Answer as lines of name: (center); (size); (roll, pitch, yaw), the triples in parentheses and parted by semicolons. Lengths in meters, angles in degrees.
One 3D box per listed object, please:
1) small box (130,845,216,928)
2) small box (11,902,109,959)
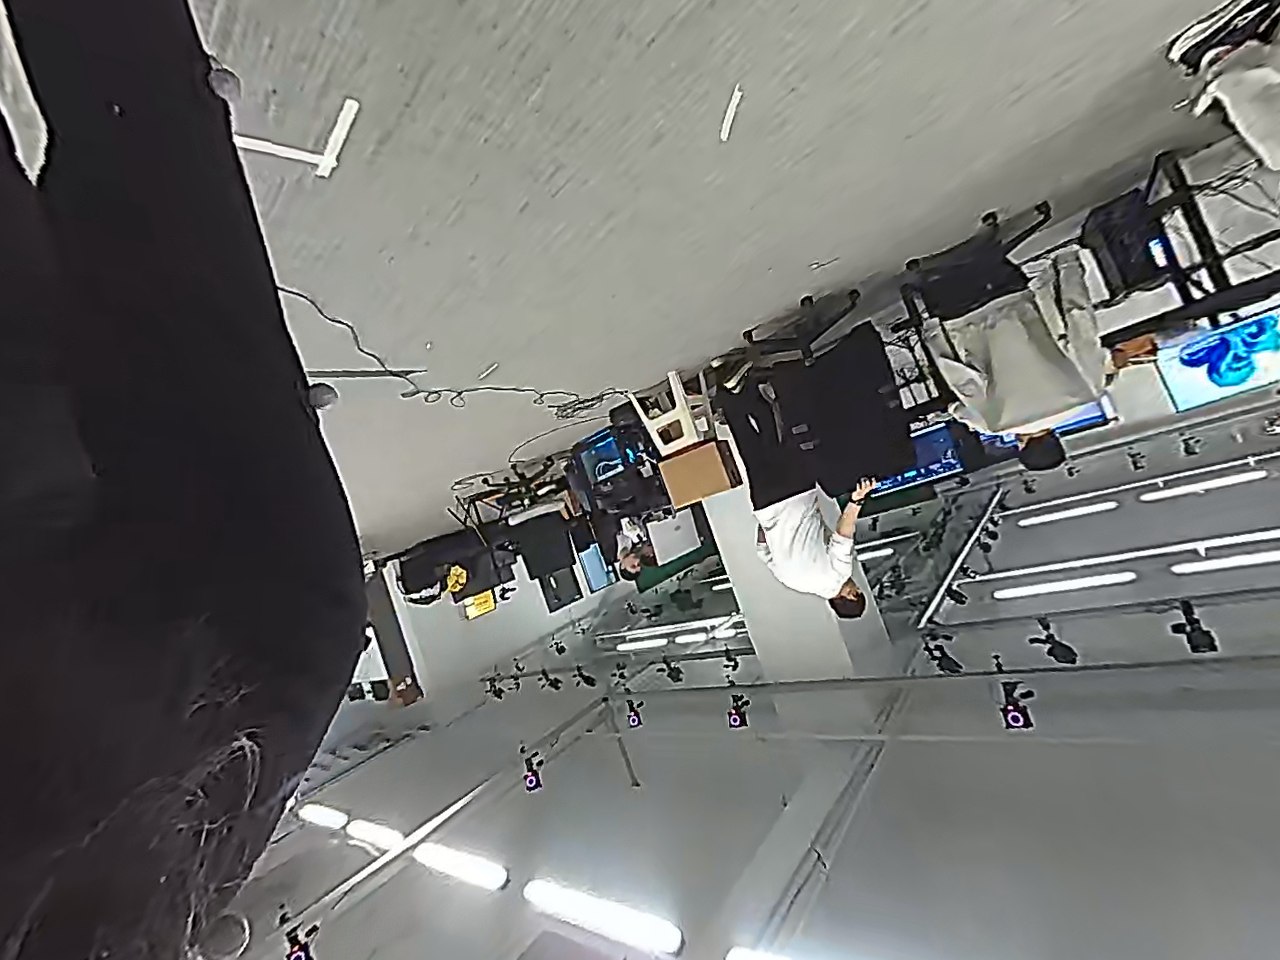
small box: (-1.664, 1.439, 1.921); (0.168, 0.176, 0.179); (-23, 174, 28)
small box: (-1.818, 1.476, 1.702); (0.179, 0.176, 0.168); (-17, 175, -45)
